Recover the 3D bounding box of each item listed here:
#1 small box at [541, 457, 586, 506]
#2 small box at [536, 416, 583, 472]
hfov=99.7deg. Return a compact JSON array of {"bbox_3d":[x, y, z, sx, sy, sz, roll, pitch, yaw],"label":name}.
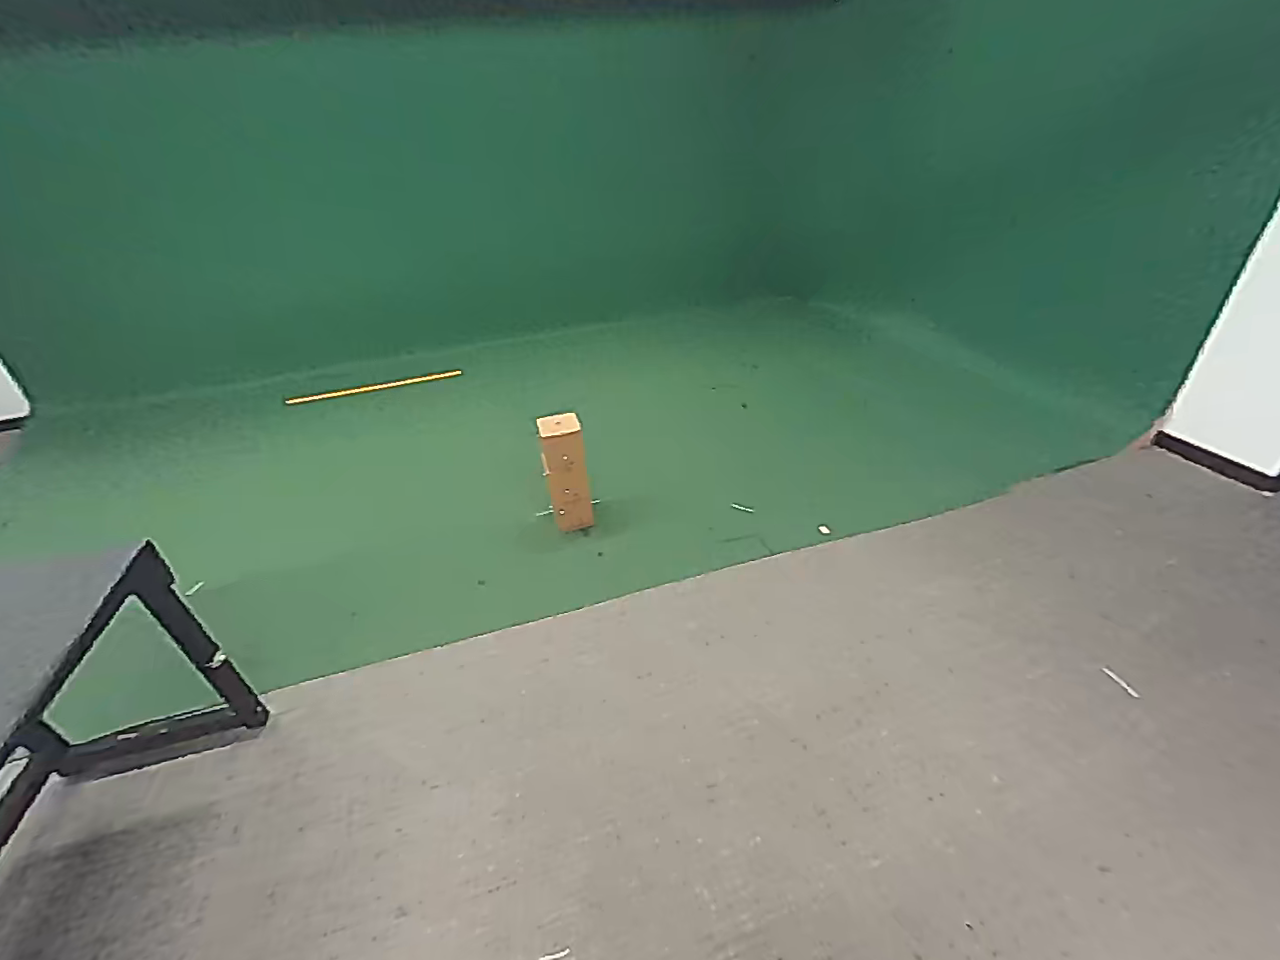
[{"bbox_3d":[-0.337,-0.011,2.377,0.168,0.176,0.179,-12,34,-13],"label":"small box"},{"bbox_3d":[-0.341,-0.153,2.292,0.168,0.176,0.179,-11,34,-11],"label":"small box"}]
